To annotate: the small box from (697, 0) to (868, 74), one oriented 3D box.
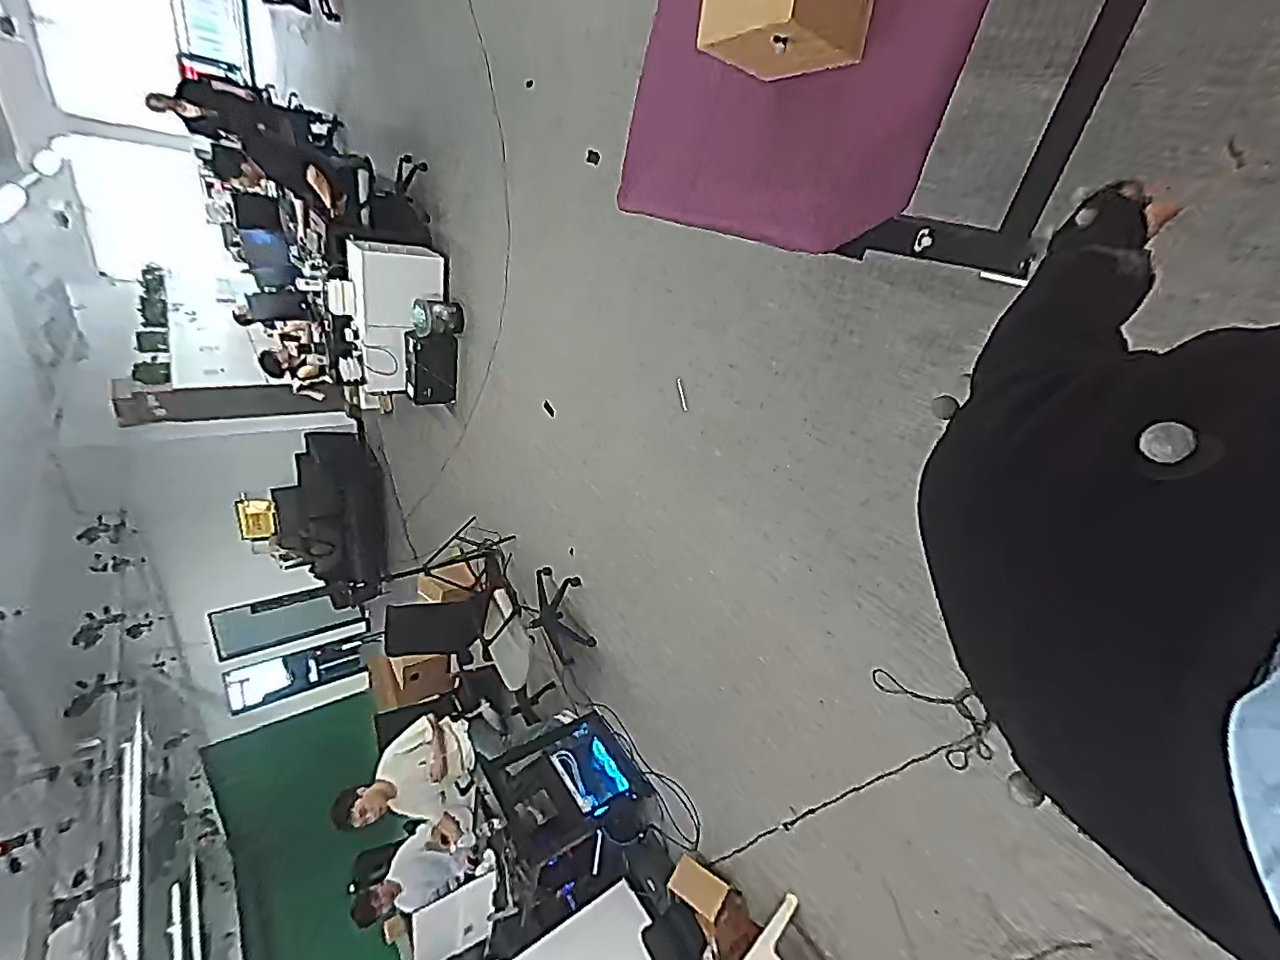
[{"bbox_3d":[0.207,-0.692,0.746,0.179,0.176,0.168,32,122,45],"label":"small box"}]
